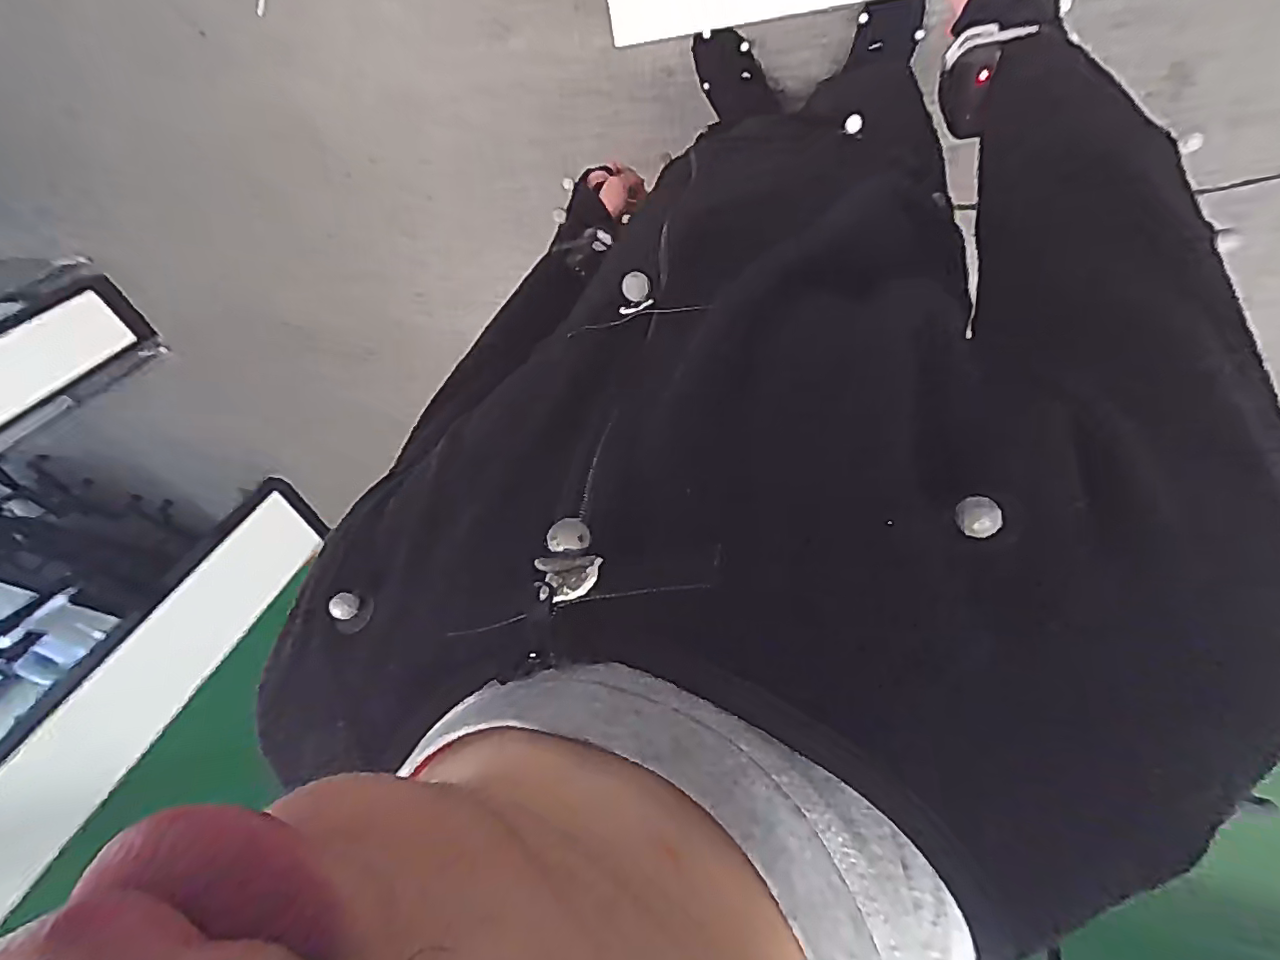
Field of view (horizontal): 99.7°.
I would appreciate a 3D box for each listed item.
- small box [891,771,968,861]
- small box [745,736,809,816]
[{"bbox_3d":[0.857,0.997,1.613,0.179,0.176,0.168,6,136,21],"label":"small box"},{"bbox_3d":[0.444,0.950,1.745,0.179,0.176,0.168,9,137,14],"label":"small box"}]
